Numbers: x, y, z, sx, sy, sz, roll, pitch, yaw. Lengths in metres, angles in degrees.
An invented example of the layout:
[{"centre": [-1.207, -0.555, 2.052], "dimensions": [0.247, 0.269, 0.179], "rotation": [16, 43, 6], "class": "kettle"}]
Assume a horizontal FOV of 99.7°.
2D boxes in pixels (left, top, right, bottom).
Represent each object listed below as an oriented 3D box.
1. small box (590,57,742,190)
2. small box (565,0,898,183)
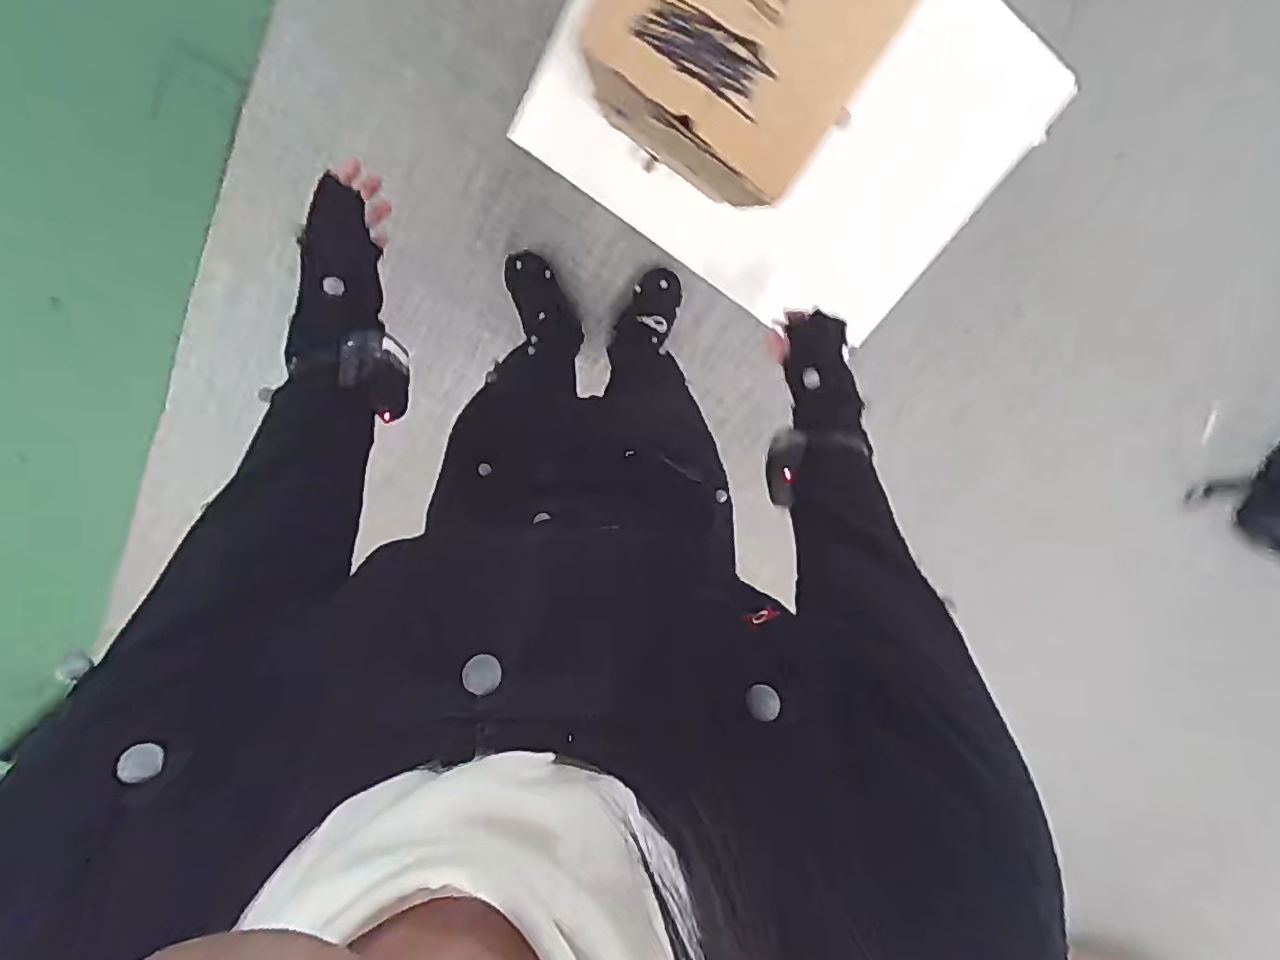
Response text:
[{"centre": [0.069, -0.410, 0.519], "dimensions": [0.168, 0.176, 0.179], "rotation": [30, 115, -14], "class": "small box"}, {"centre": [0.070, -0.341, 0.387], "dimensions": [0.168, 0.176, 0.179], "rotation": [33, 112, -15], "class": "small box"}]
